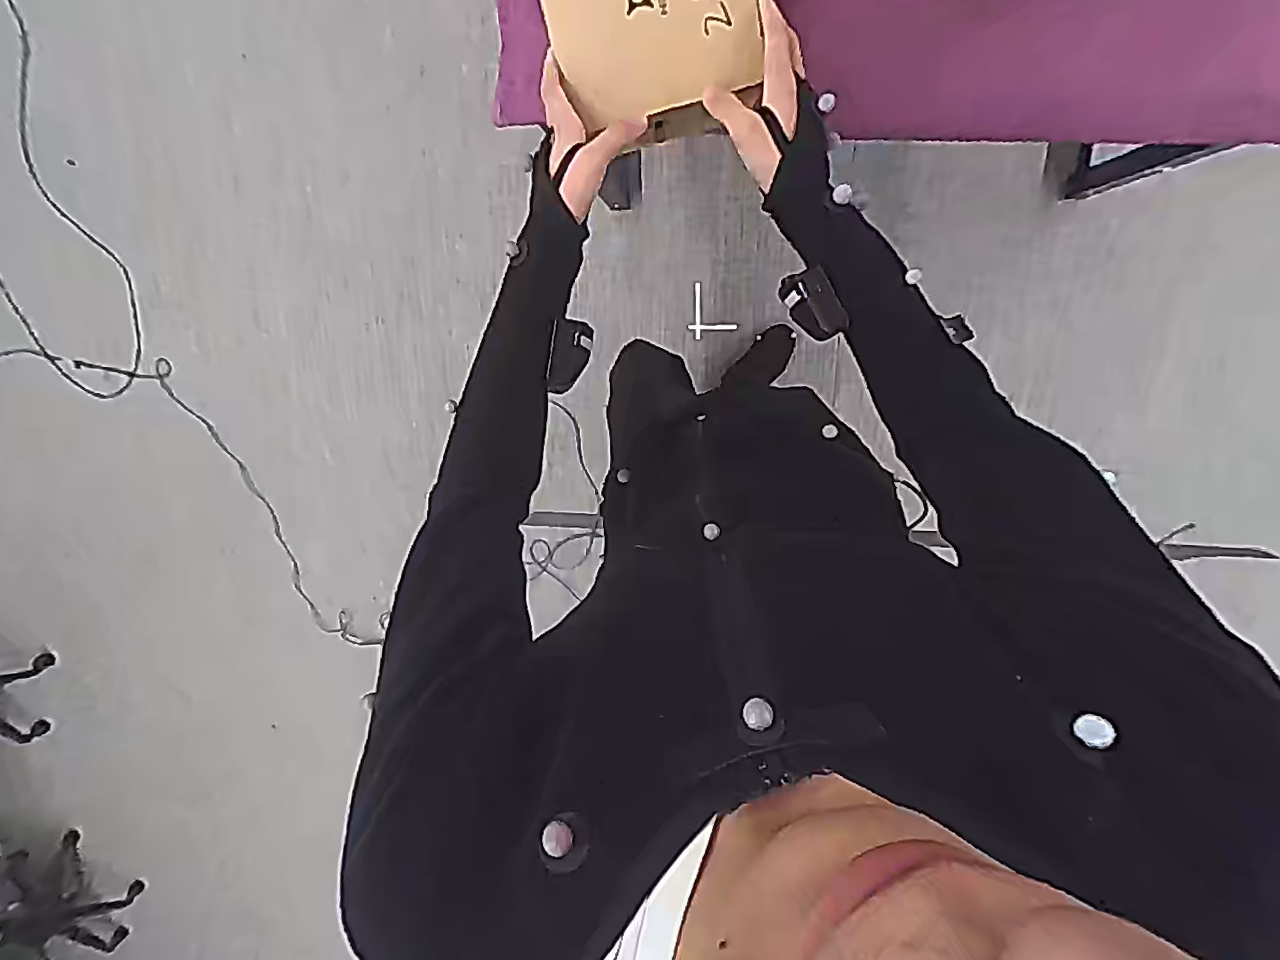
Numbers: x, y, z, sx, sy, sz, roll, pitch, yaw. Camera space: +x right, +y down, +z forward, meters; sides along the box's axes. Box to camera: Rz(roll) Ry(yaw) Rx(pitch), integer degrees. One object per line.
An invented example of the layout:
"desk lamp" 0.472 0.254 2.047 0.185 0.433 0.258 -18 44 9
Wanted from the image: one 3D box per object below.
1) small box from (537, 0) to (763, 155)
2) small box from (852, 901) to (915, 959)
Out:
"small box" 0.009 -0.424 0.507 0.179 0.176 0.168 -11 114 8
"small box" 0.876 1.683 1.959 0.168 0.176 0.179 -1 105 7
